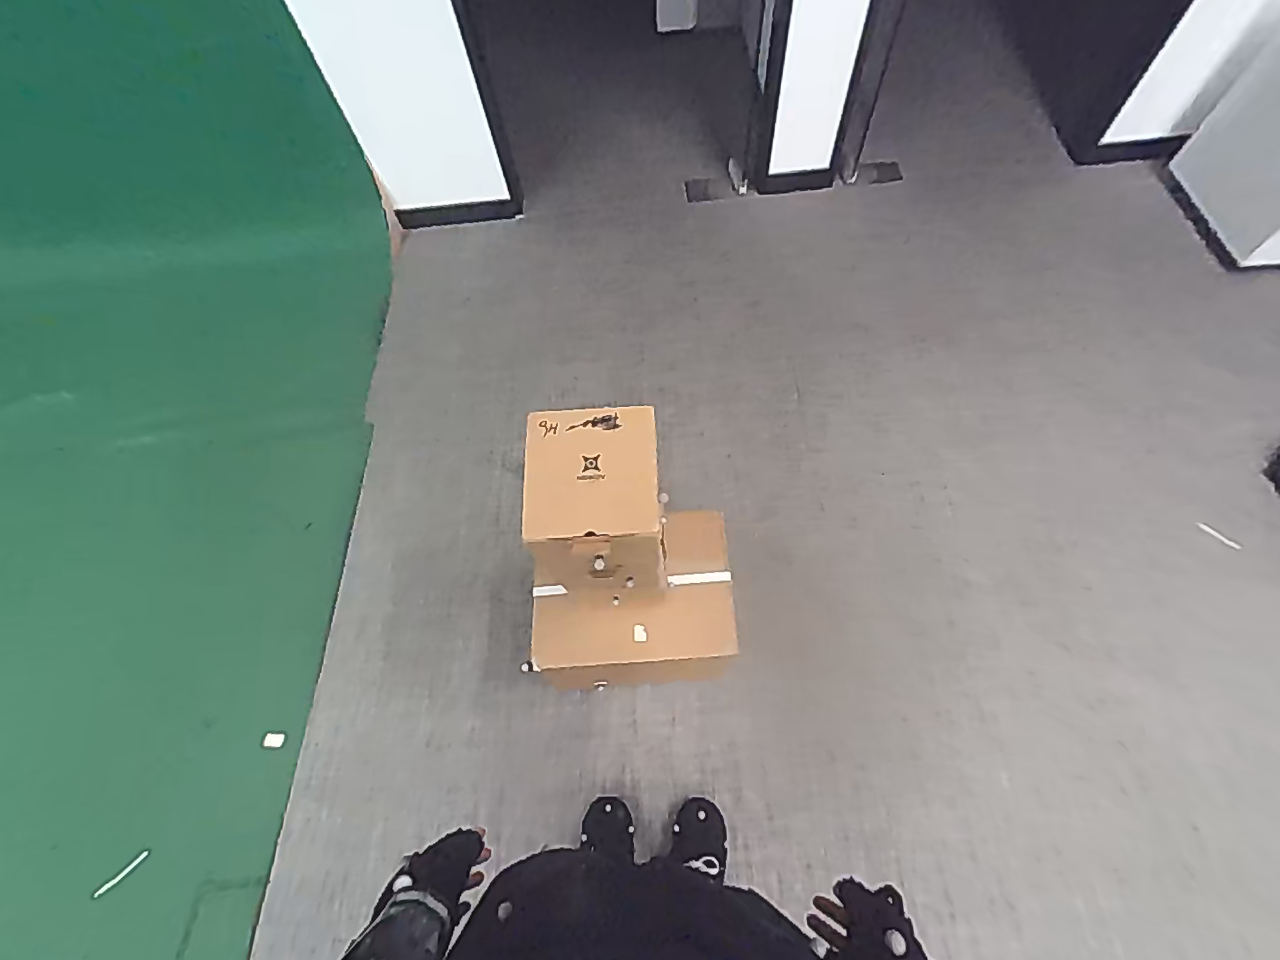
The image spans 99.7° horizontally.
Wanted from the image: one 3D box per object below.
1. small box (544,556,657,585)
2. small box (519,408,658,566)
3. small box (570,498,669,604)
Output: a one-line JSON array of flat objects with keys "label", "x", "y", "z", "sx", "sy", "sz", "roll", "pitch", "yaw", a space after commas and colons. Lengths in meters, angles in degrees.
[{"label": "small box", "x": -0.057, "y": 0.077, "z": 0.901, "sx": 0.168, "sy": 0.176, "sz": 0.179, "roll": -2, "pitch": 67, "yaw": 2}, {"label": "small box", "x": -0.062, "y": 0.019, "z": 0.748, "sx": 0.168, "sy": 0.176, "sz": 0.179, "roll": -3, "pitch": 69, "yaw": 2}, {"label": "small box", "x": -0.038, "y": 0.142, "z": 1.048, "sx": 0.179, "sy": 0.176, "sz": 0.168, "roll": -5, "pitch": 69, "yaw": 1}]
